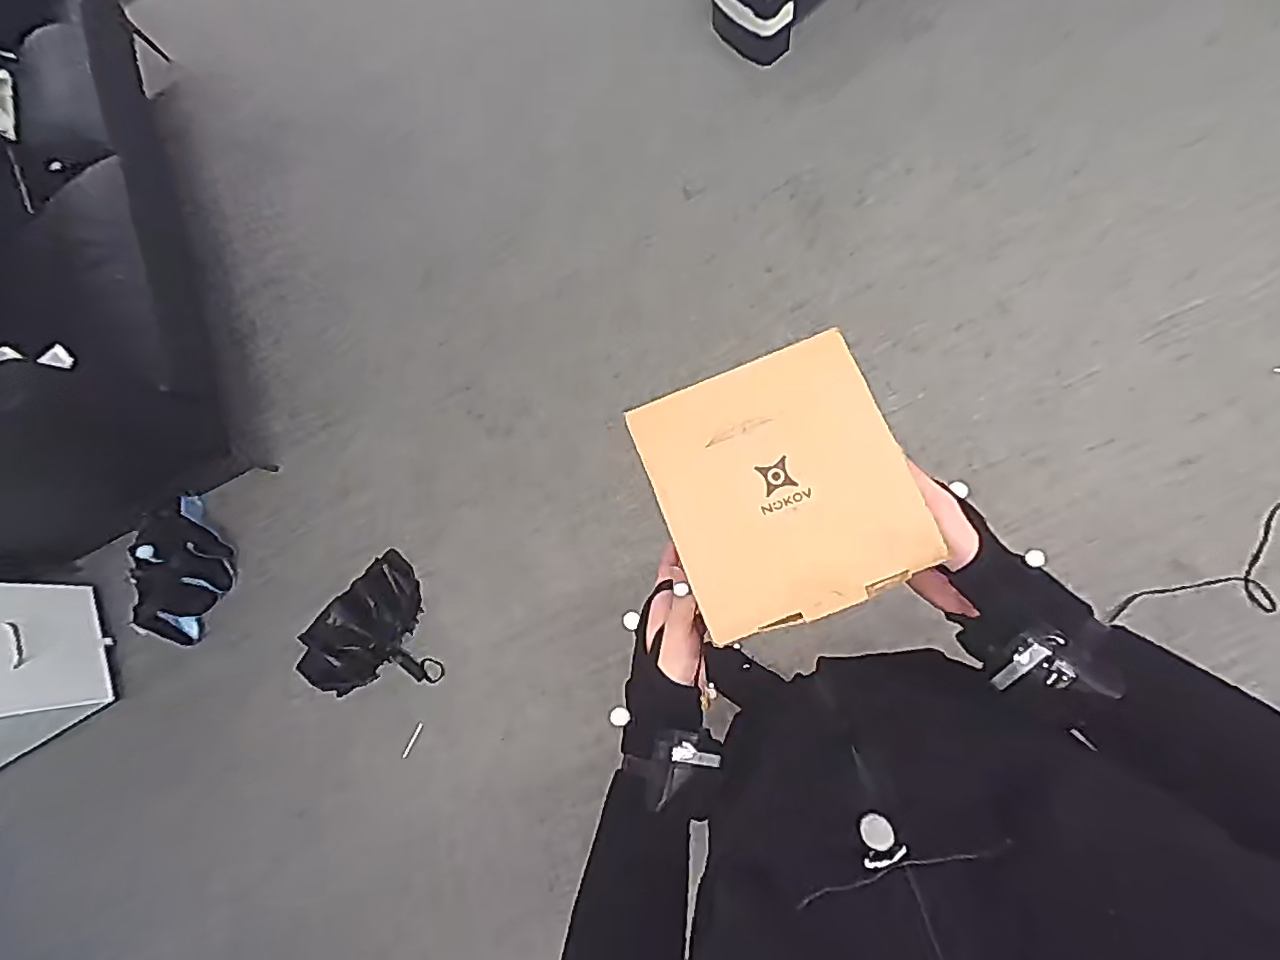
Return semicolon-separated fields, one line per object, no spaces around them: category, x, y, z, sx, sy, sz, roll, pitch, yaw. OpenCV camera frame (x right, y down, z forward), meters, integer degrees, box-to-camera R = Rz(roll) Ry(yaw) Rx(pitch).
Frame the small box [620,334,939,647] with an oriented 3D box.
small box;0.099;0.017;0.447;0.168;0.176;0.179;-22;77;2
